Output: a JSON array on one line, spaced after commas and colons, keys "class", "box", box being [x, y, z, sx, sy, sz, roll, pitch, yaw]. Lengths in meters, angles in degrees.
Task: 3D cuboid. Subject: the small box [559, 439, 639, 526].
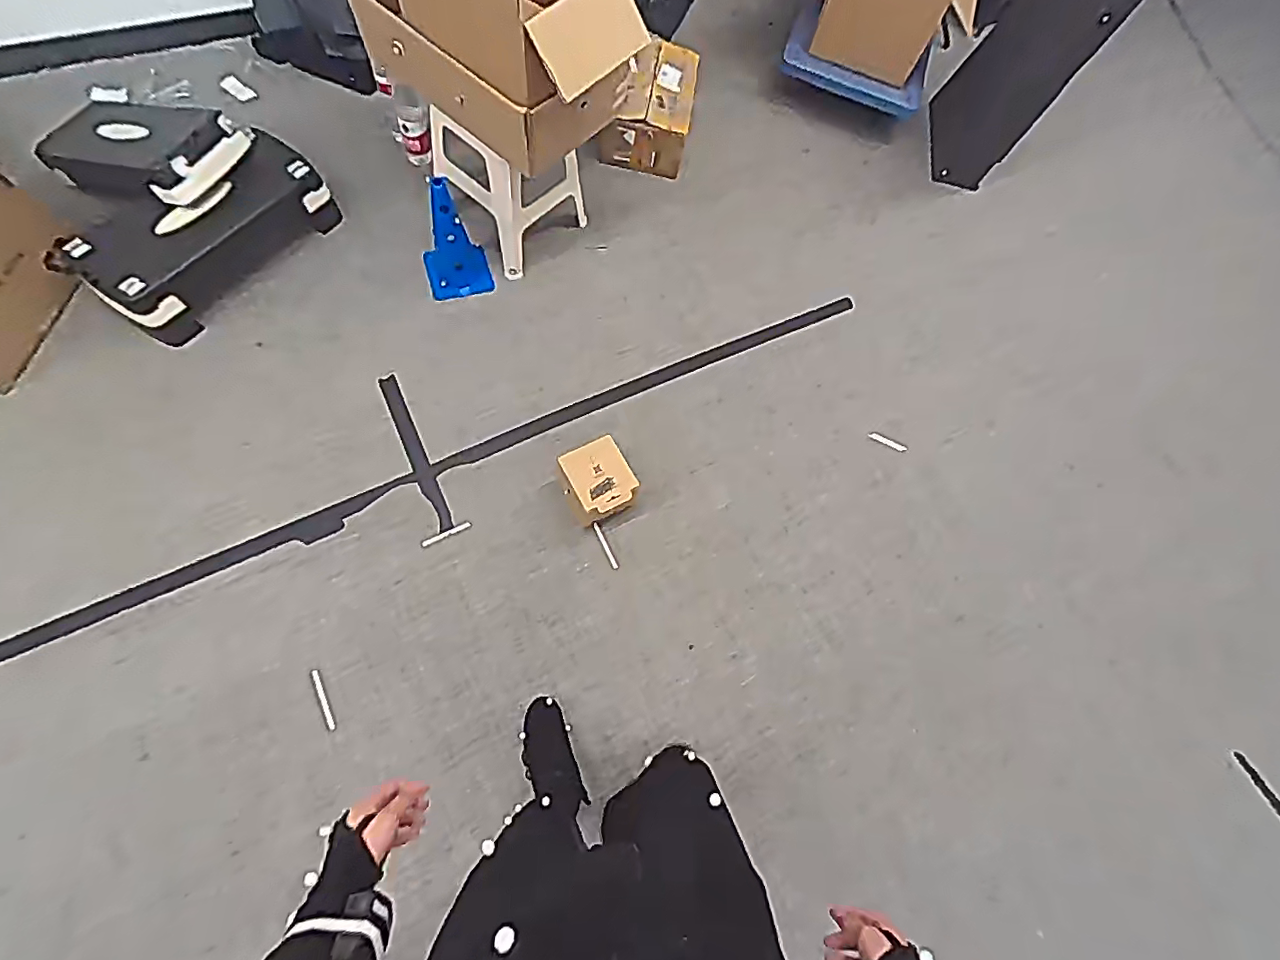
[{"class": "small box", "box": [-0.119, 0.016, 1.536, 0.168, 0.176, 0.179, -26, 75, -16]}]
